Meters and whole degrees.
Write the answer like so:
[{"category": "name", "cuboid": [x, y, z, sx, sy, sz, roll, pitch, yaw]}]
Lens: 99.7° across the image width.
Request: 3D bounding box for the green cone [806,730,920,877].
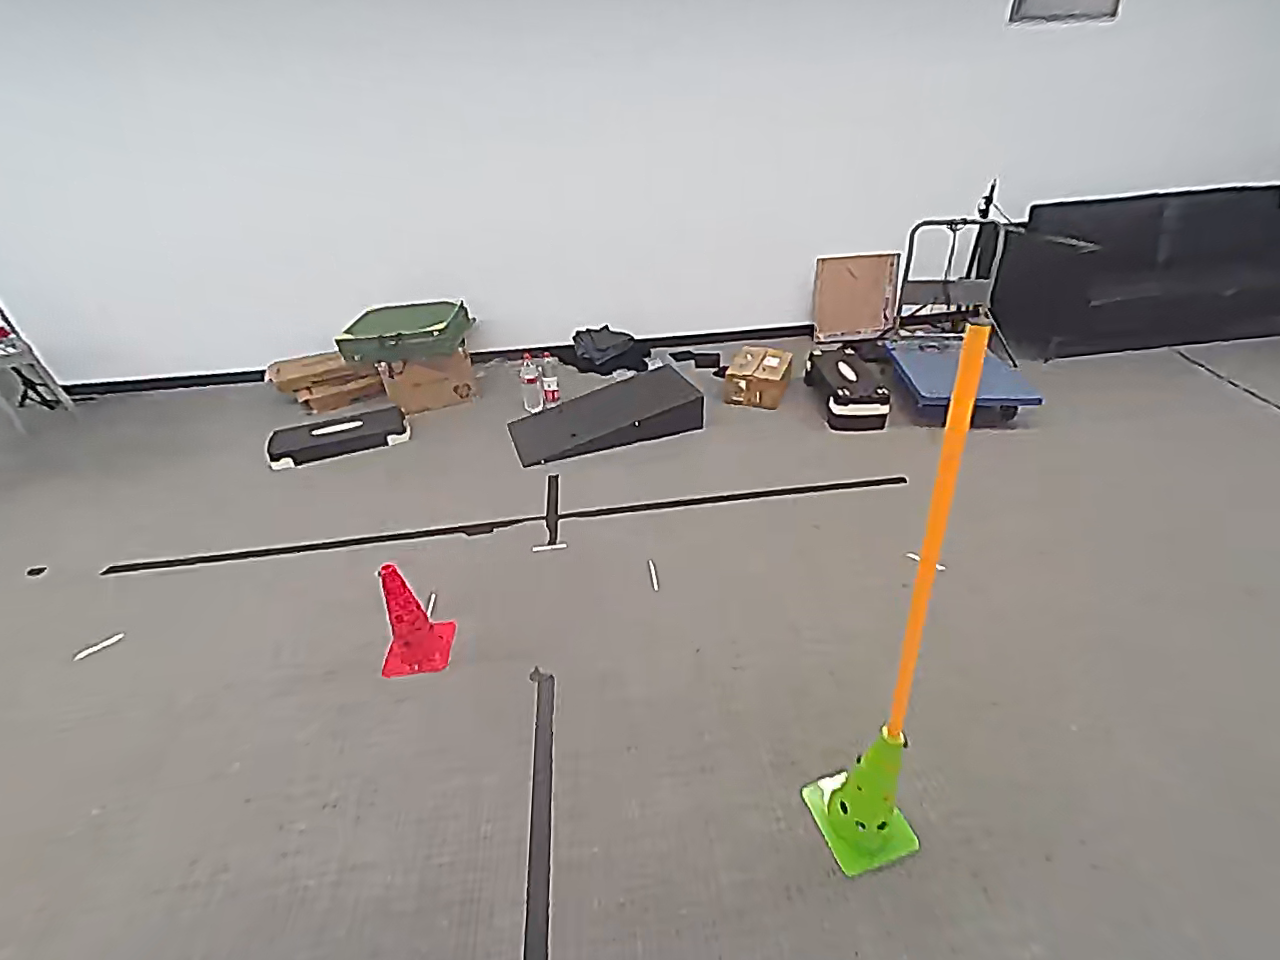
[{"category": "green cone", "cuboid": [0.514, 0.658, 1.176, 0.200, 0.368, 0.202, -12, 36, -13]}]
